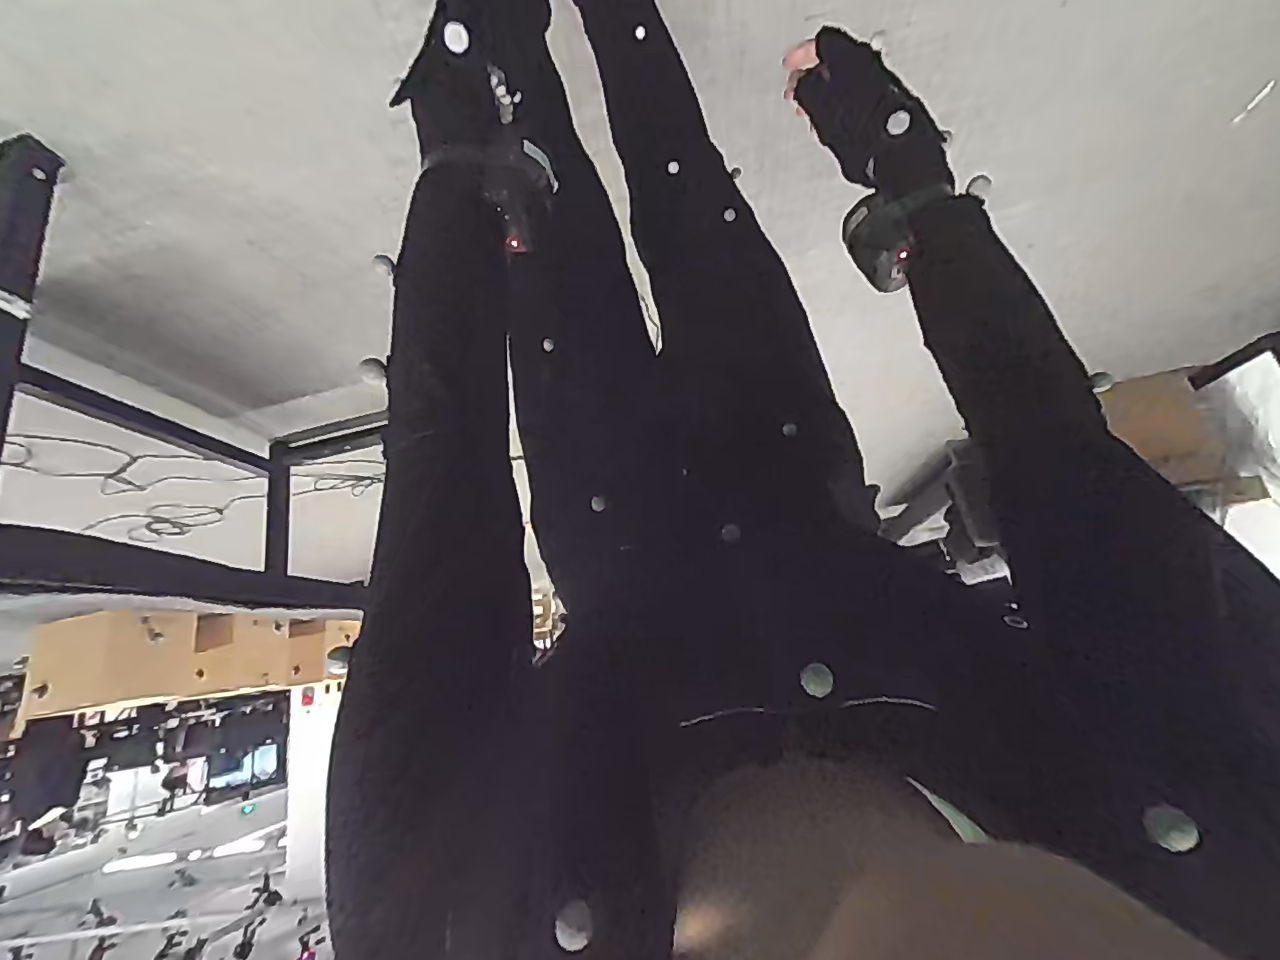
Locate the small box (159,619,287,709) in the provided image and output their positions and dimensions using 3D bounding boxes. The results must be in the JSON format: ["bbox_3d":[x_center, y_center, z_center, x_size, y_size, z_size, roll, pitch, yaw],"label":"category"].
[{"bbox_3d":[-0.965,0.422,1.262,0.179,0.176,0.168,-11,162,6],"label":"small box"}]

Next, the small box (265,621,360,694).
[{"bbox_3d":[-0.922,0.503,1.535,0.179,0.176,0.168,-12,162,7],"label":"small box"}]

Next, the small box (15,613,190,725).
[{"bbox_3d":[-1.008,0.356,1.033,0.179,0.176,0.168,-12,163,7],"label":"small box"}]
